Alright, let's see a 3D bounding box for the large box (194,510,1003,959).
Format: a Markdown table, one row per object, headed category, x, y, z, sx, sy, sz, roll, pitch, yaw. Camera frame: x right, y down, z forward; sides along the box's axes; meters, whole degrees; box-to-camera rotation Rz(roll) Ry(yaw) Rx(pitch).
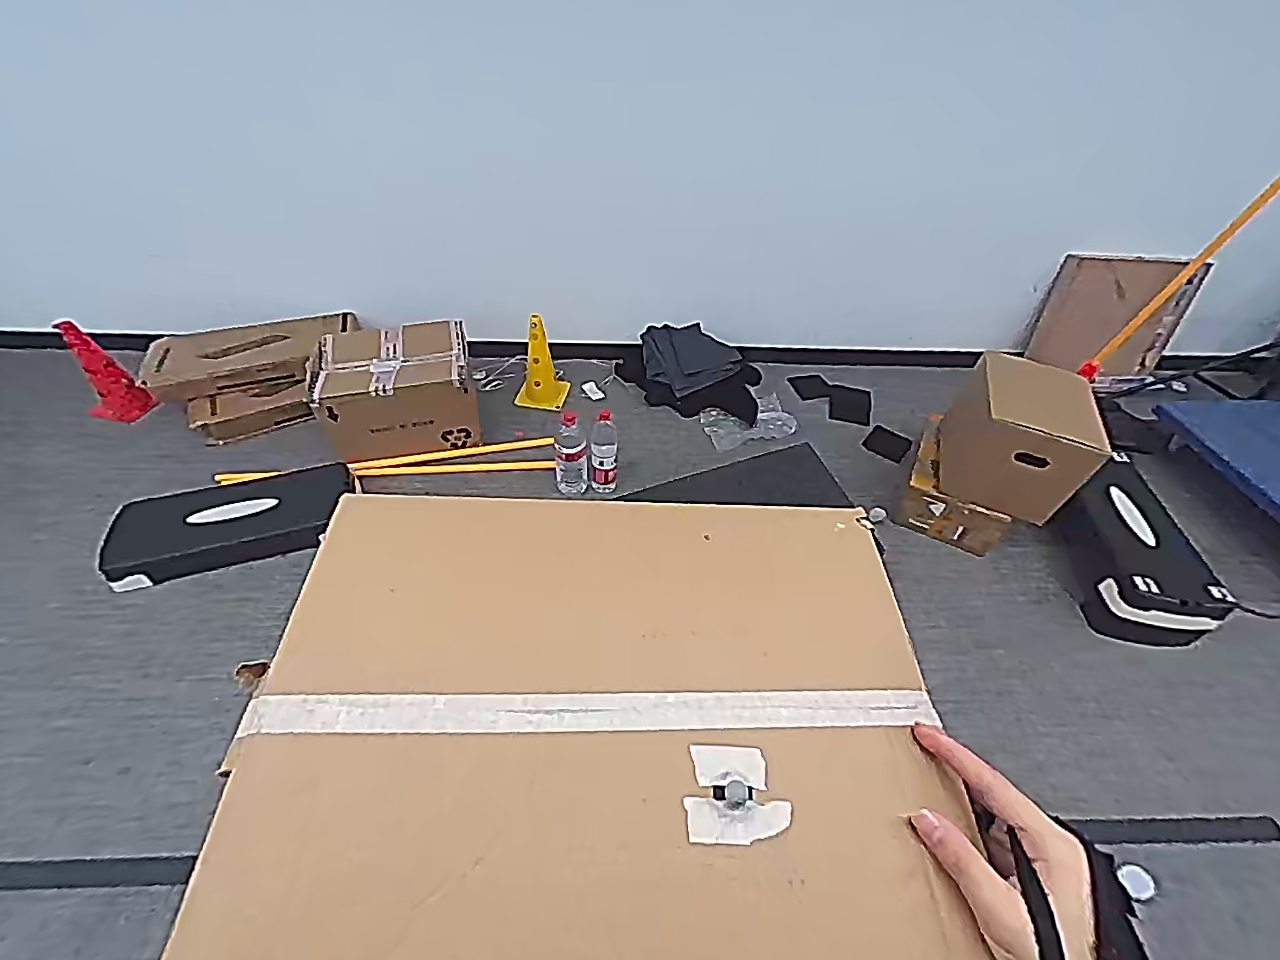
| category | x | y | z | sx | sy | sz | roll | pitch | yaw |
| --- | --- | --- | --- | --- | --- | --- | --- | --- | --- |
| large box | -0.030 | 0.240 | 0.450 | 0.408 | 0.320 | 0.320 | 2 | 52 | -6 |
